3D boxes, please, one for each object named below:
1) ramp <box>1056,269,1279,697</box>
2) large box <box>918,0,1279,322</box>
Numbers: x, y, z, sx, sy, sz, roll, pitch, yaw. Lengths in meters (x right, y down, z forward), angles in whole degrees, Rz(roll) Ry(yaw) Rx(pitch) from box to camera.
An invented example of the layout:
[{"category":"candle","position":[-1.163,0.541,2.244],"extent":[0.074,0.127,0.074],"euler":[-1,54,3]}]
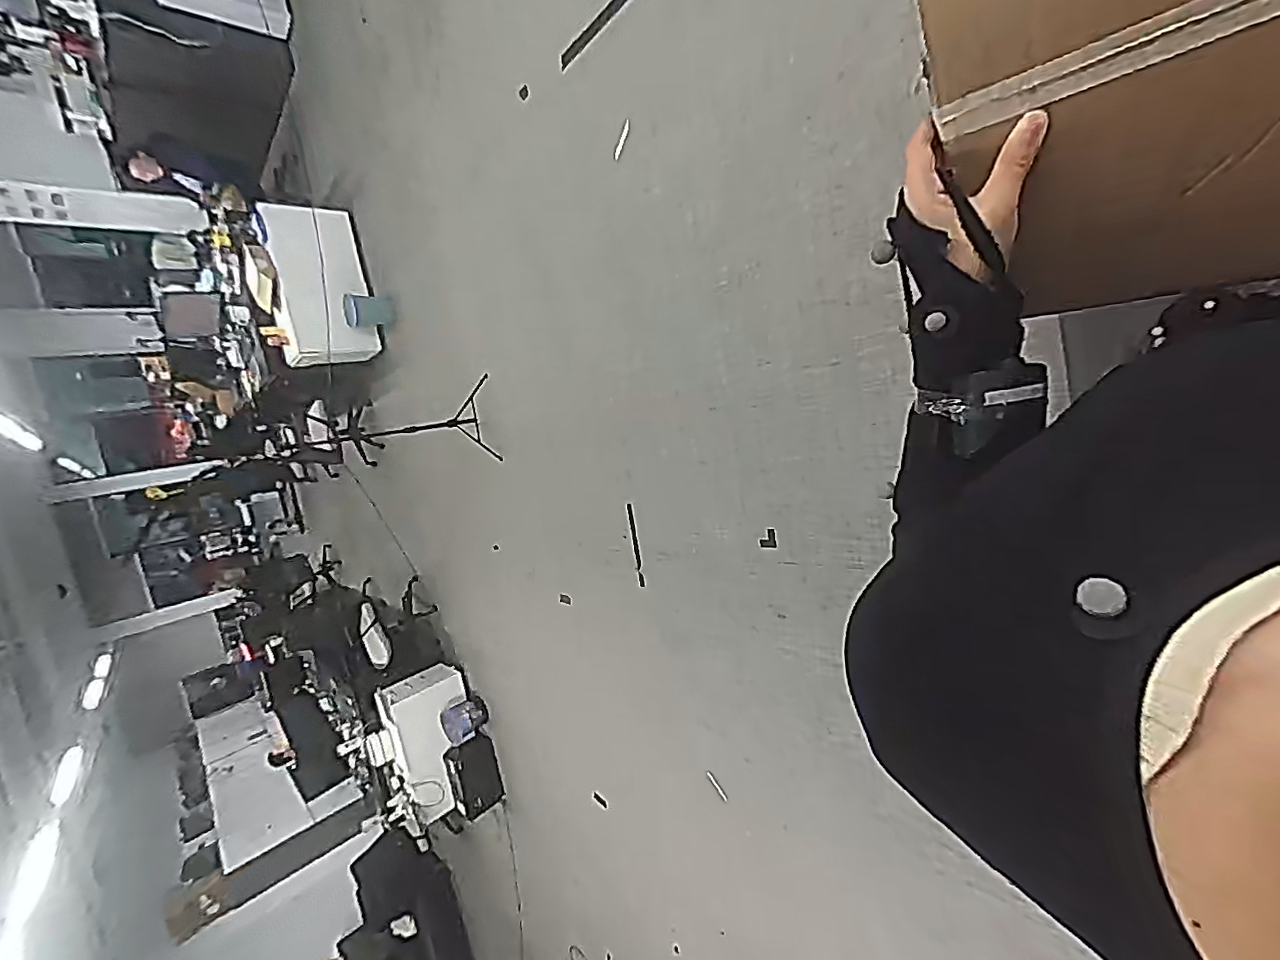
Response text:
[{"category":"ramp","position":[1.127,-0.014,1.001],"extent":[0.509,0.206,0.991],"euler":[-7,99,47]},{"category":"large box","position":[0.408,-0.339,0.285],"extent":[0.408,0.320,0.320],"euler":[-1,138,44]}]
